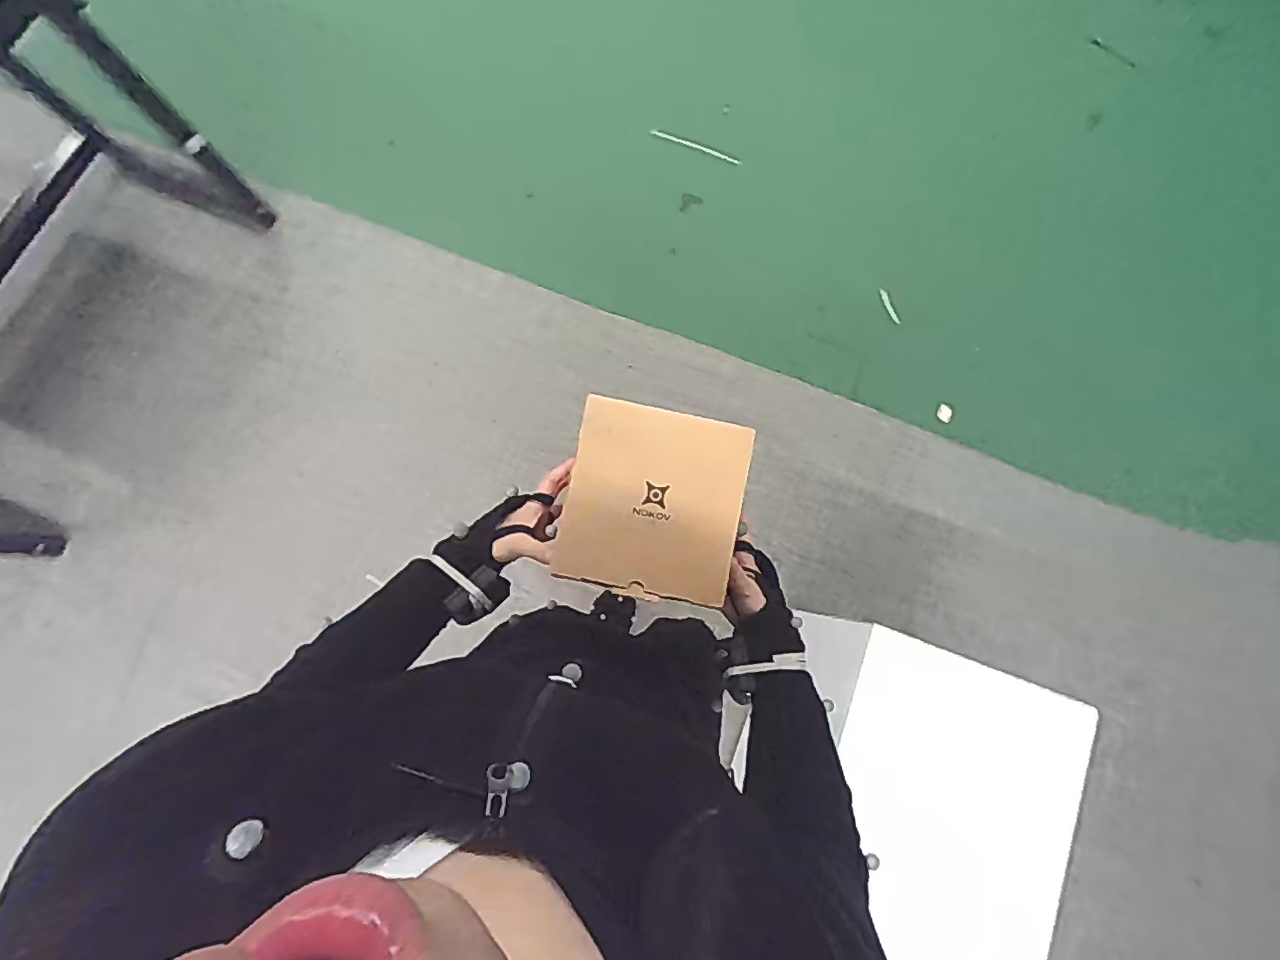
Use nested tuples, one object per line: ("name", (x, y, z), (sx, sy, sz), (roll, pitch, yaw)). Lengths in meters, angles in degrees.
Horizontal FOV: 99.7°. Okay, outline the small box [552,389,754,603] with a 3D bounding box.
("small box", (0.010, 0.021, 0.577), (0.168, 0.176, 0.179), (10, 85, -1))
